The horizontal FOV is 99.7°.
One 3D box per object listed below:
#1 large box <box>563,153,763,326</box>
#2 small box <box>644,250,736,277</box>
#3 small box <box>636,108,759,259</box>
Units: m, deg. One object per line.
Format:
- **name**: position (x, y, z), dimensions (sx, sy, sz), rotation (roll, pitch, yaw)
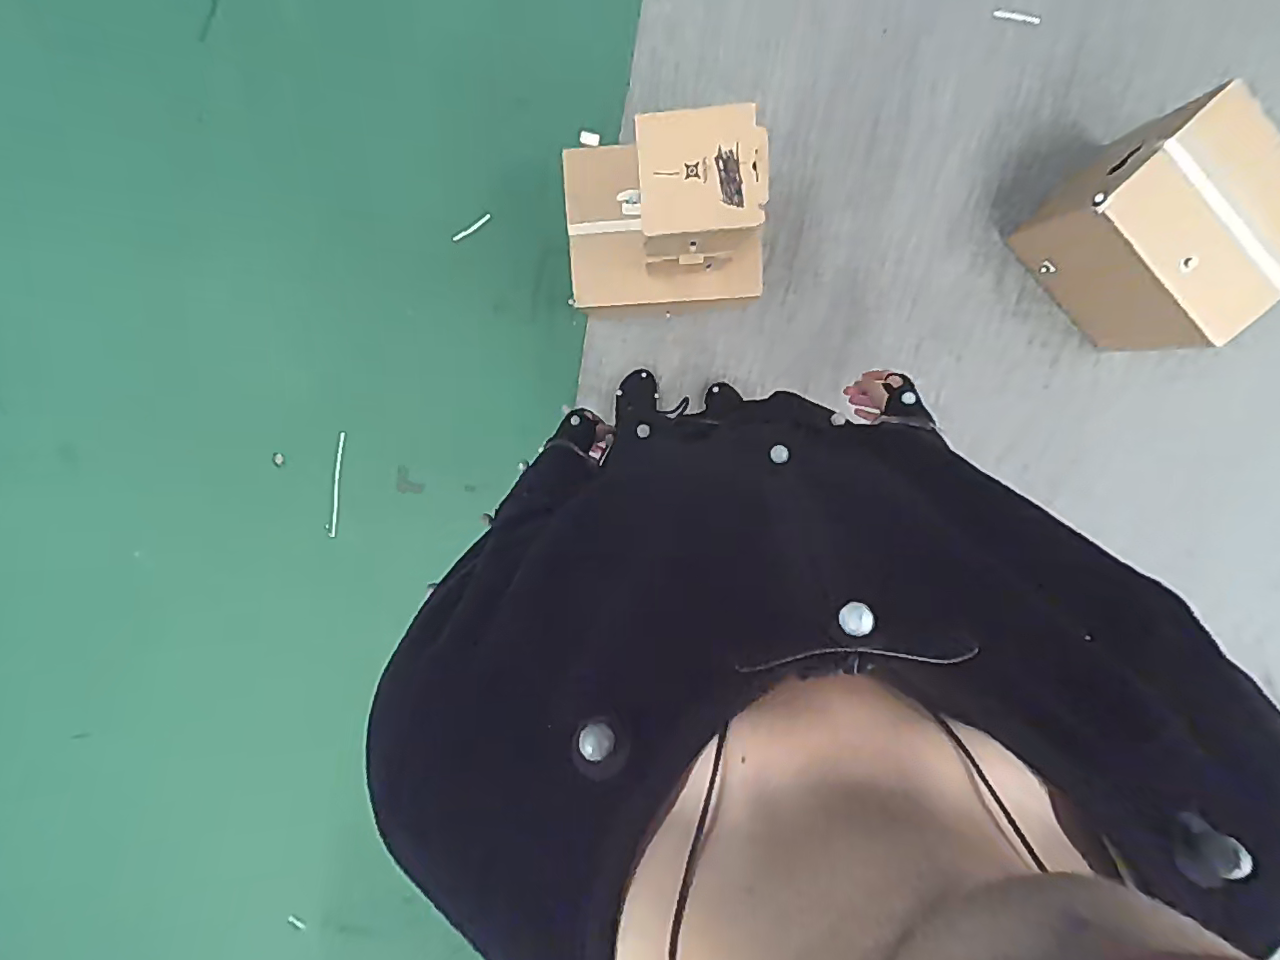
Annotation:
- **large box**: position (0.060, -0.542, 1.261), dimensions (0.408, 0.320, 0.320), rotation (-3, 99, 5)
- **small box**: position (0.091, -0.486, 1.021), dimensions (0.168, 0.176, 0.179), rotation (-2, 101, 3)
- **small box**: position (0.087, -0.458, 0.859), dimensions (0.179, 0.176, 0.168), rotation (-3, 101, 3)
